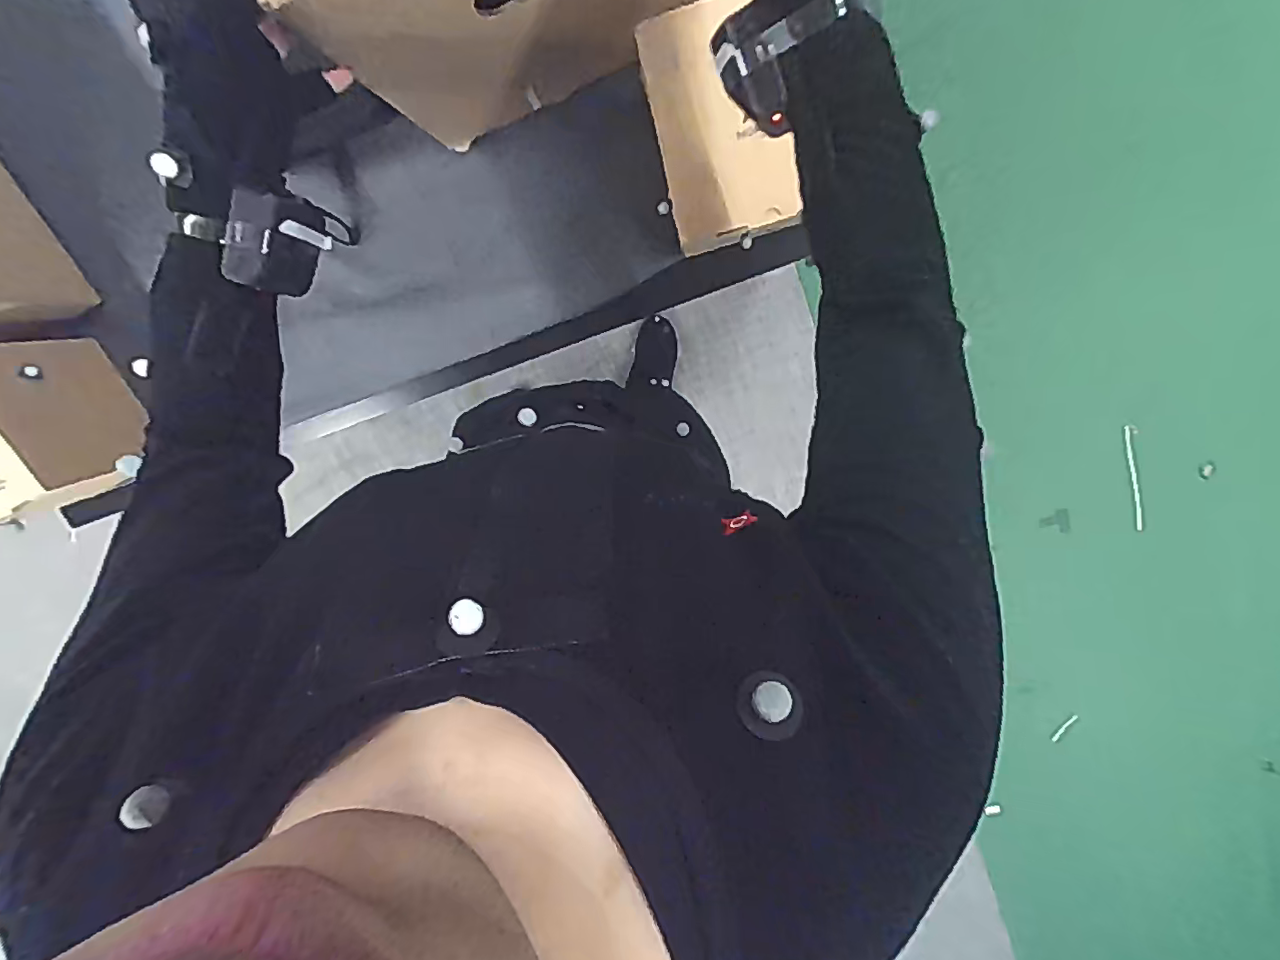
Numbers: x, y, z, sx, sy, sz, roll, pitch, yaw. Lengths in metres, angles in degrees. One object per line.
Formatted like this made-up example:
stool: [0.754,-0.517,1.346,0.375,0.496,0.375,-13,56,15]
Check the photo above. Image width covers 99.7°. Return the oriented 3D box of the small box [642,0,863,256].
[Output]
small box: [0.102,-0.335,0.535,0.168,0.176,0.179,-13,109,9]
